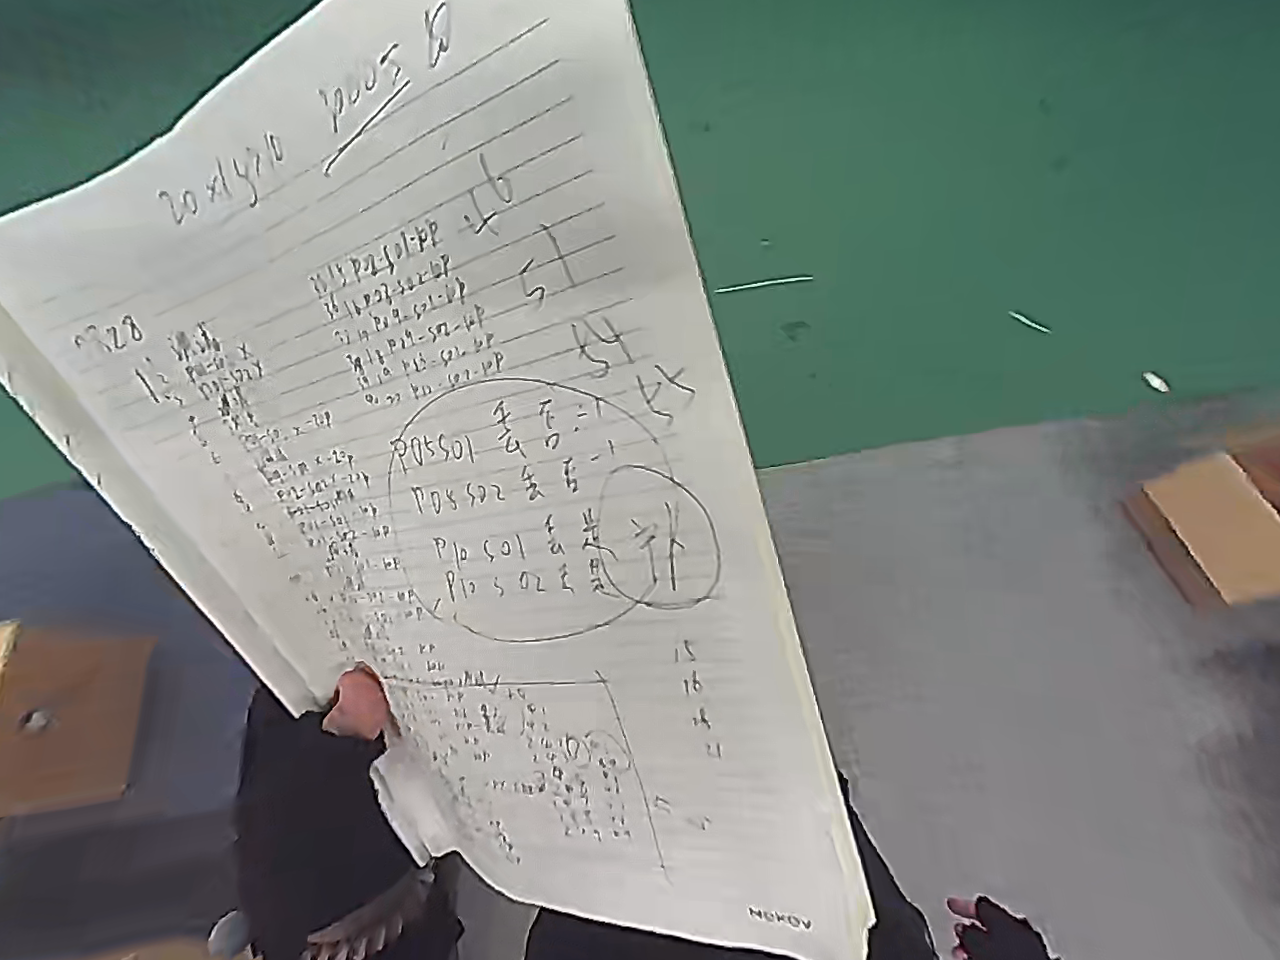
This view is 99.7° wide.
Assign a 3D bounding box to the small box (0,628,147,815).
[{"bbox_3d":[-0.712,0.276,0.603,0.168,0.176,0.179,-9,67,-1],"label":"small box"}]
